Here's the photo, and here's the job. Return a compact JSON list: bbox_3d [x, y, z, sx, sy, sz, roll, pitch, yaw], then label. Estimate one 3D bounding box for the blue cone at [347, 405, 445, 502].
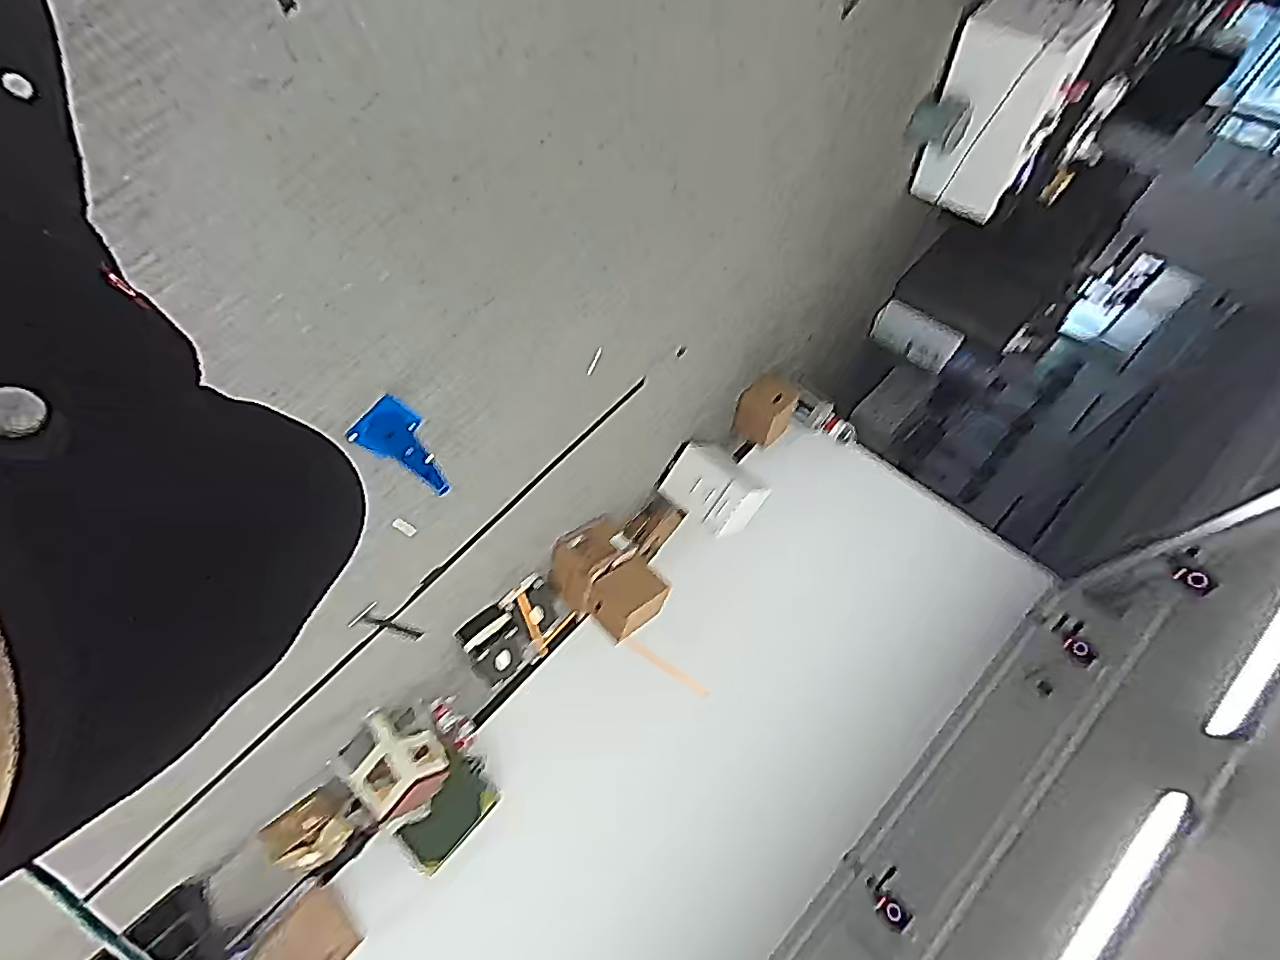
[{"bbox_3d":[-0.752,-0.062,1.766,0.192,0.380,0.193,-46,157,-8],"label":"blue cone"}]
